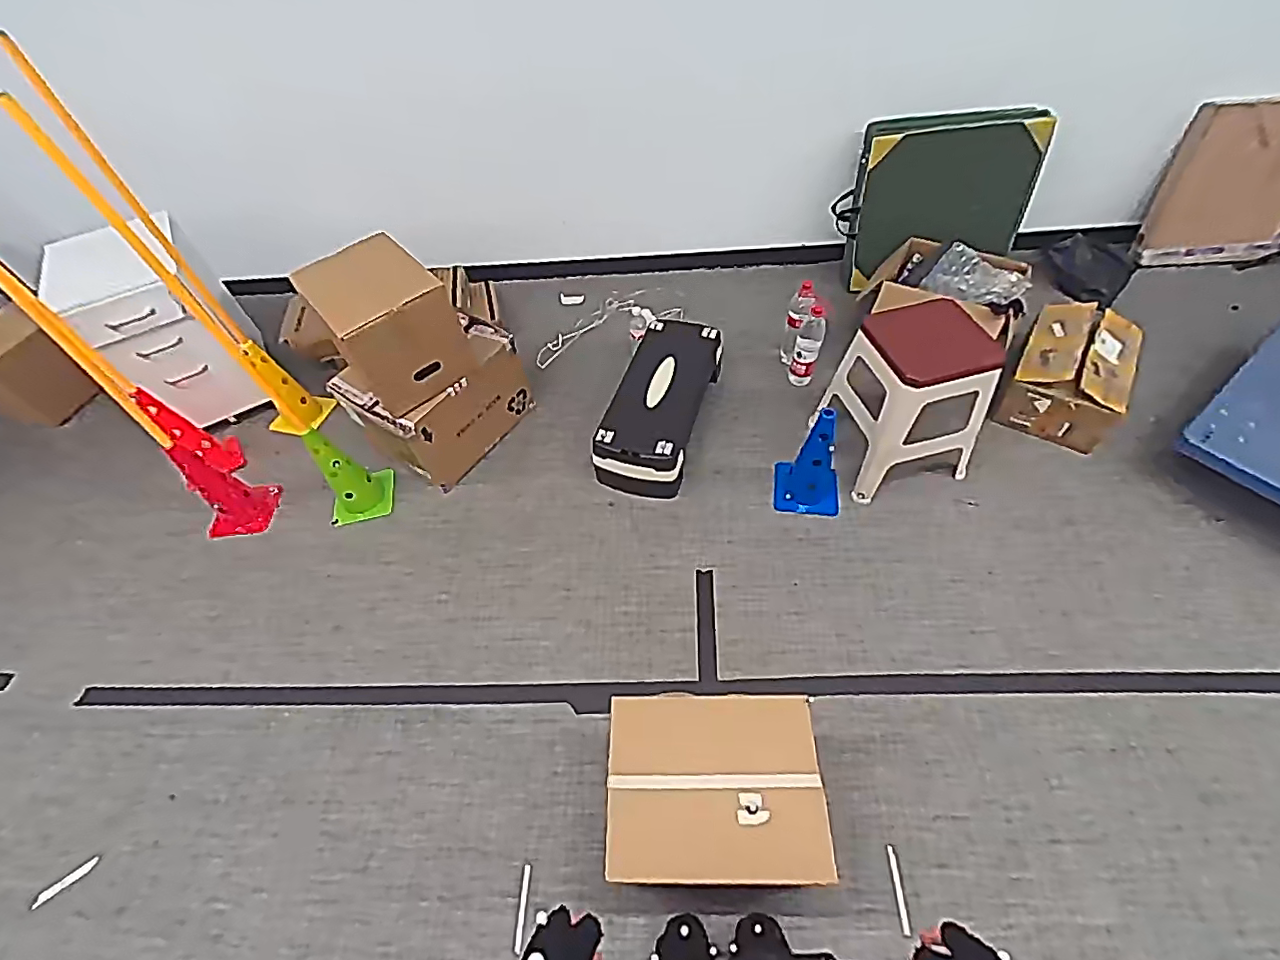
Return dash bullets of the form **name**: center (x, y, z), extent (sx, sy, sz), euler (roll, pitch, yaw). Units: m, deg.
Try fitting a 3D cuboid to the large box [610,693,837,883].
- **large box**: center (0.150, 0.659, 1.147), extent (0.408, 0.320, 0.320), euler (-2, 54, 2)
